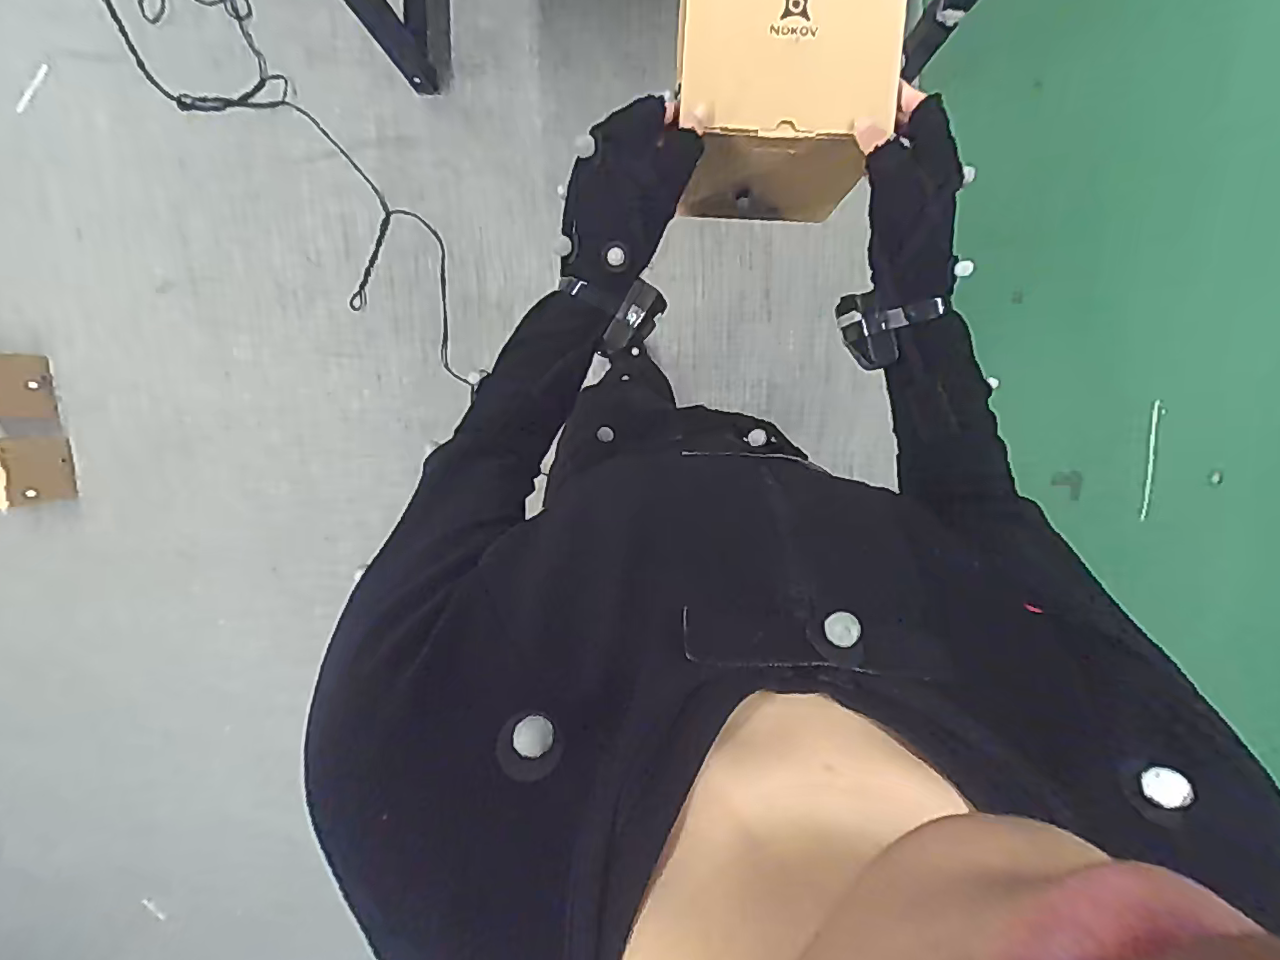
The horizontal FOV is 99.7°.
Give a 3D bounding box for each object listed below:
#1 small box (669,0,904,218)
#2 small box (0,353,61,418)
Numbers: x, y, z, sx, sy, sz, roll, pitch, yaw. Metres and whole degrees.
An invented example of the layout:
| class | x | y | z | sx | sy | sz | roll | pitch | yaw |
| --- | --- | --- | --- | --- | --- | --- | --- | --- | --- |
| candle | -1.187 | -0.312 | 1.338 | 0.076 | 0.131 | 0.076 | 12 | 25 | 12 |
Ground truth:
| class | x | y | z | sx | sy | sz | roll | pitch | yaw |
| --- | --- | --- | --- | --- | --- | --- | --- | --- | --- |
| small box | 0.115 | -0.360 | 0.483 | 0.168 | 0.176 | 0.179 | 3 | 96 | 1 |
| small box | -1.688 | -0.244 | 1.407 | 0.179 | 0.176 | 0.168 | -1 | 99 | 2 |
